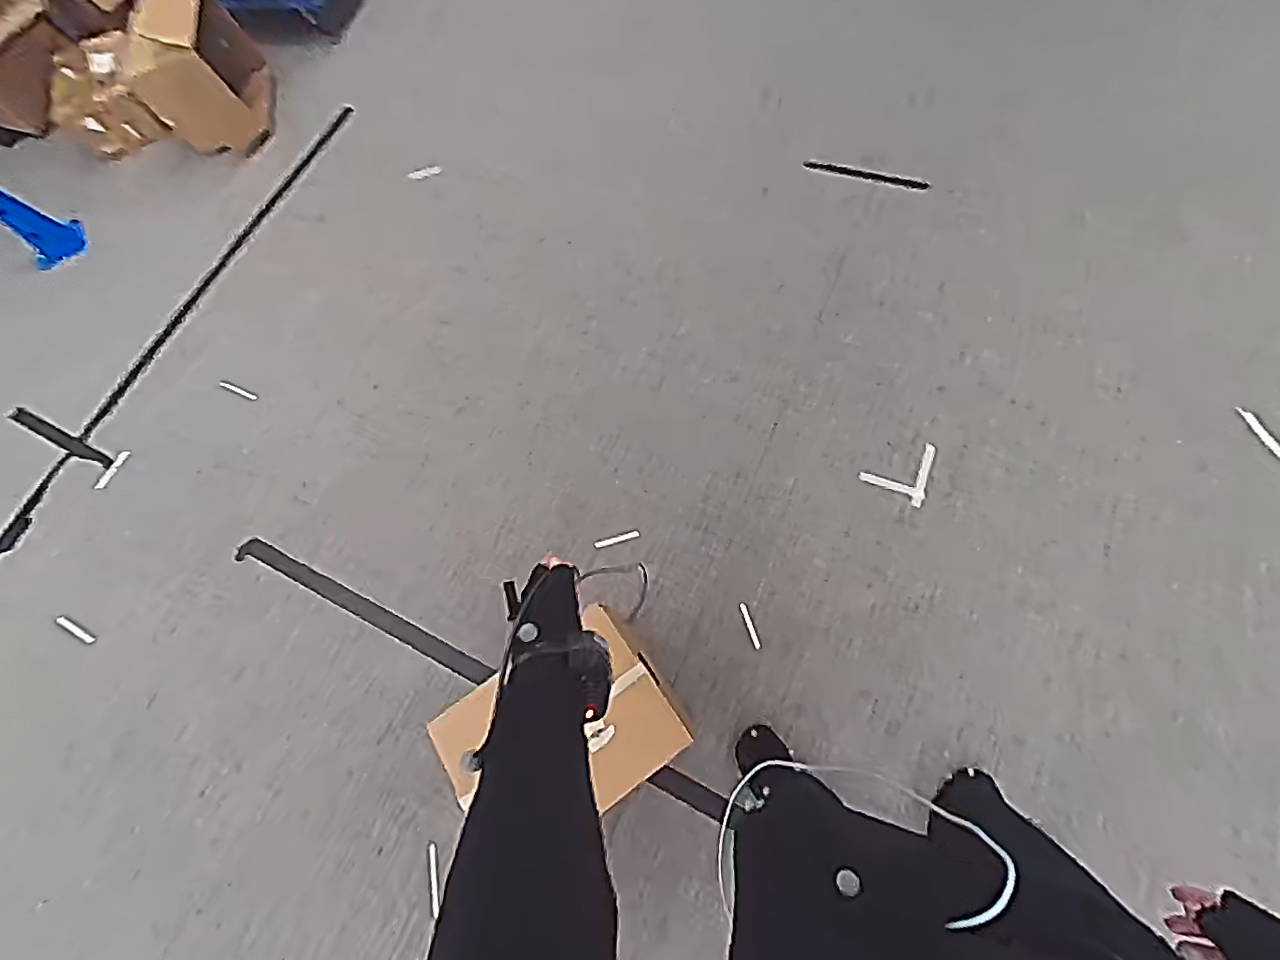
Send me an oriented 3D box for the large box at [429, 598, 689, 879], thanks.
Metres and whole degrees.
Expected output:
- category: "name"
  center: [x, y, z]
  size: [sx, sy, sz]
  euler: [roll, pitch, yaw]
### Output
- category: "large box"
  center: [-0.144, 0.514, 1.139]
  size: [0.408, 0.320, 0.320]
  euler: [-35, 71, -7]
